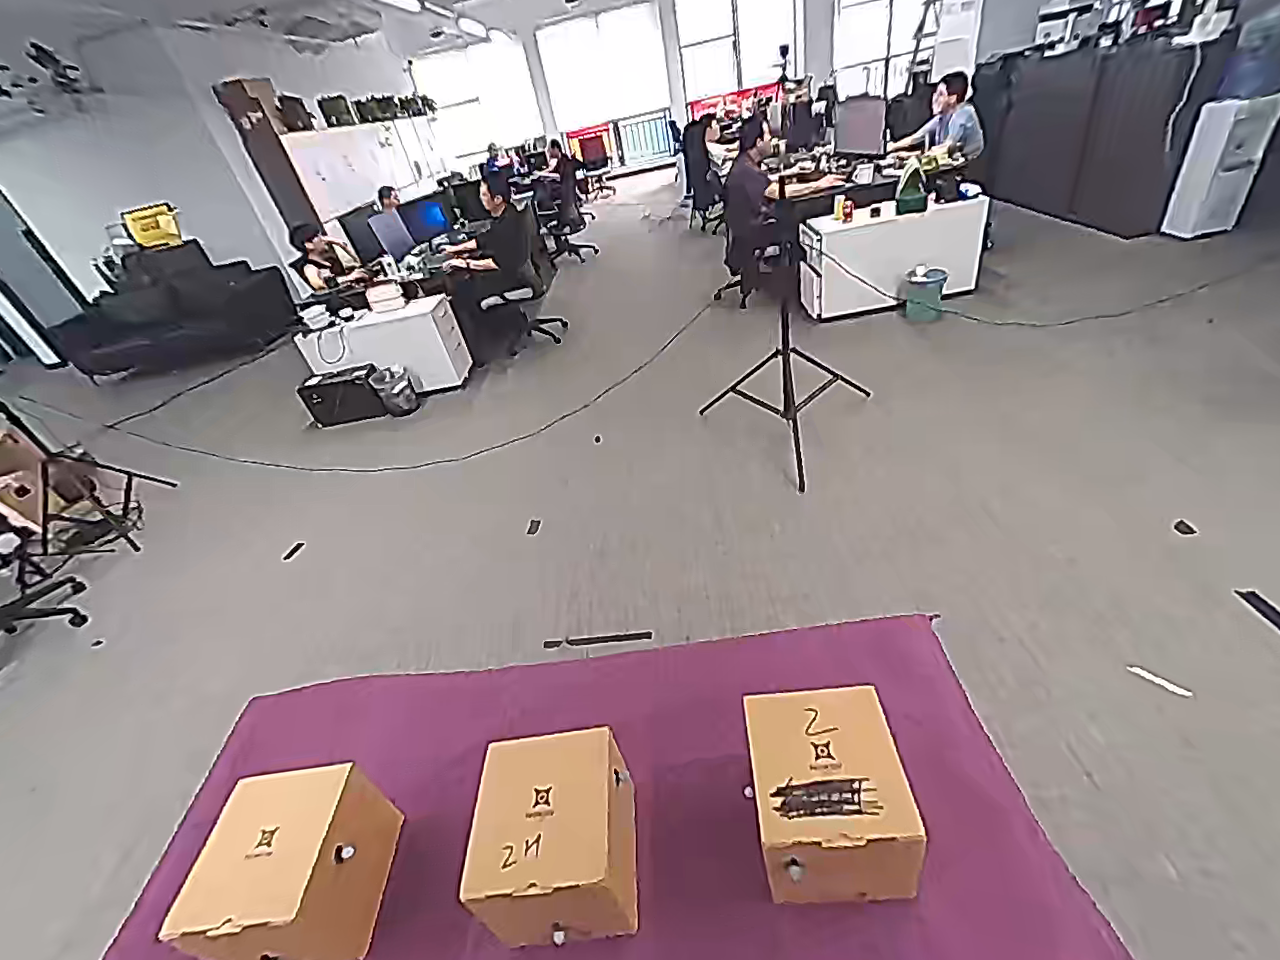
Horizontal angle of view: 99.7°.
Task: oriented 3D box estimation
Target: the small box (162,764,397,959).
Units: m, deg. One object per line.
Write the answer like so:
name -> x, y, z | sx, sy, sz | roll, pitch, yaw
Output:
small box -> -0.449, 0.511, 0.715 | 0.168, 0.176, 0.179 | -10, 37, 3

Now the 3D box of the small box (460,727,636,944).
small box -> -0.102, 0.448, 0.687 | 0.168, 0.176, 0.179 | -10, 36, 5
